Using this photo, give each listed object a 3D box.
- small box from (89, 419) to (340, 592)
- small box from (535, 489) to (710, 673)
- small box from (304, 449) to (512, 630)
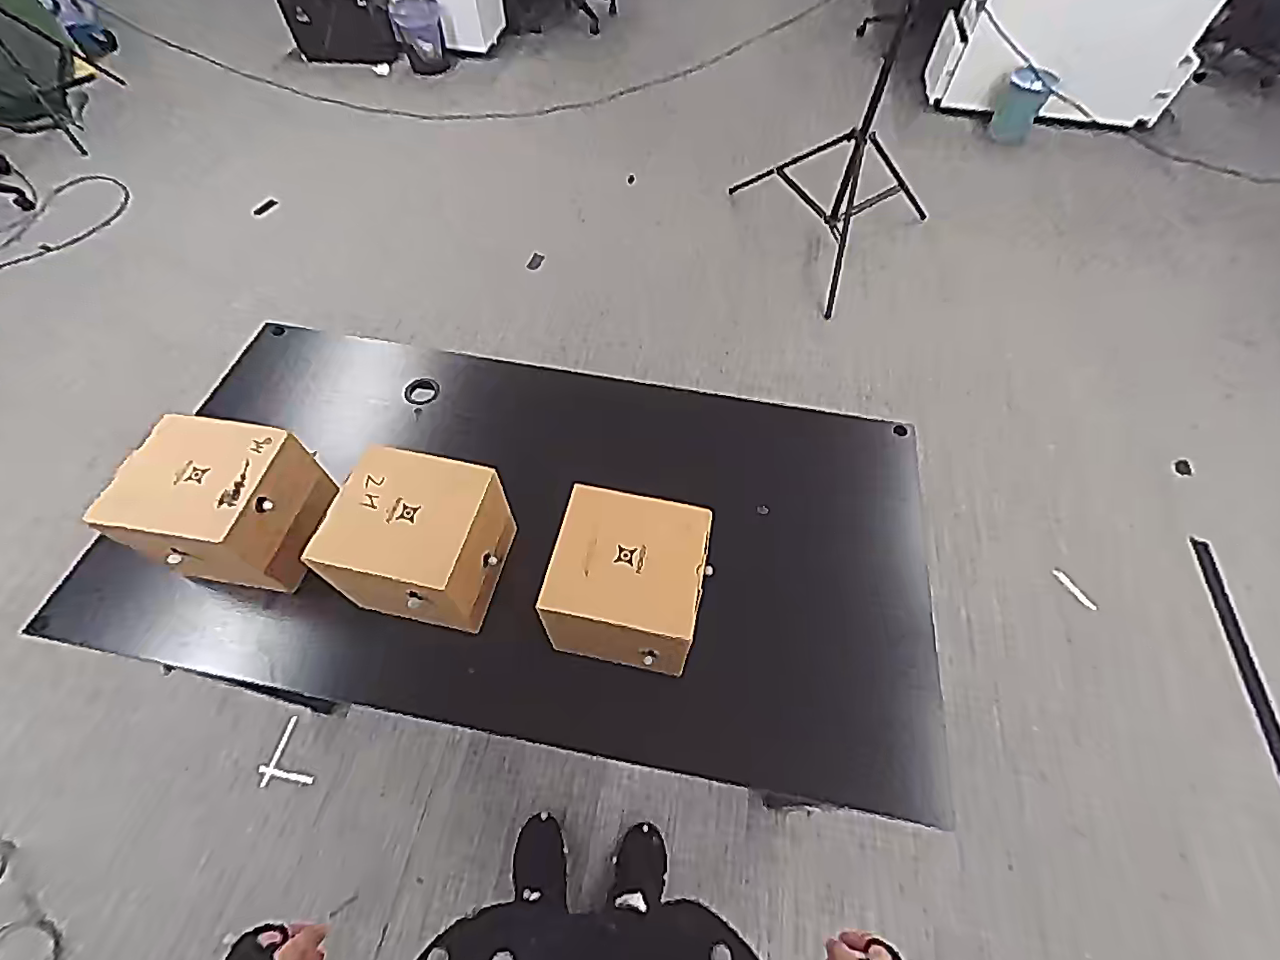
[{"bbox_3d":[-0.553,0.041,0.737,0.179,0.176,0.168,8,58,4],"label":"small box"},{"bbox_3d":[-0.016,0.136,0.693,0.179,0.176,0.168,9,57,6],"label":"small box"},{"bbox_3d":[-0.284,0.085,0.715,0.179,0.176,0.168,11,58,5],"label":"small box"}]
